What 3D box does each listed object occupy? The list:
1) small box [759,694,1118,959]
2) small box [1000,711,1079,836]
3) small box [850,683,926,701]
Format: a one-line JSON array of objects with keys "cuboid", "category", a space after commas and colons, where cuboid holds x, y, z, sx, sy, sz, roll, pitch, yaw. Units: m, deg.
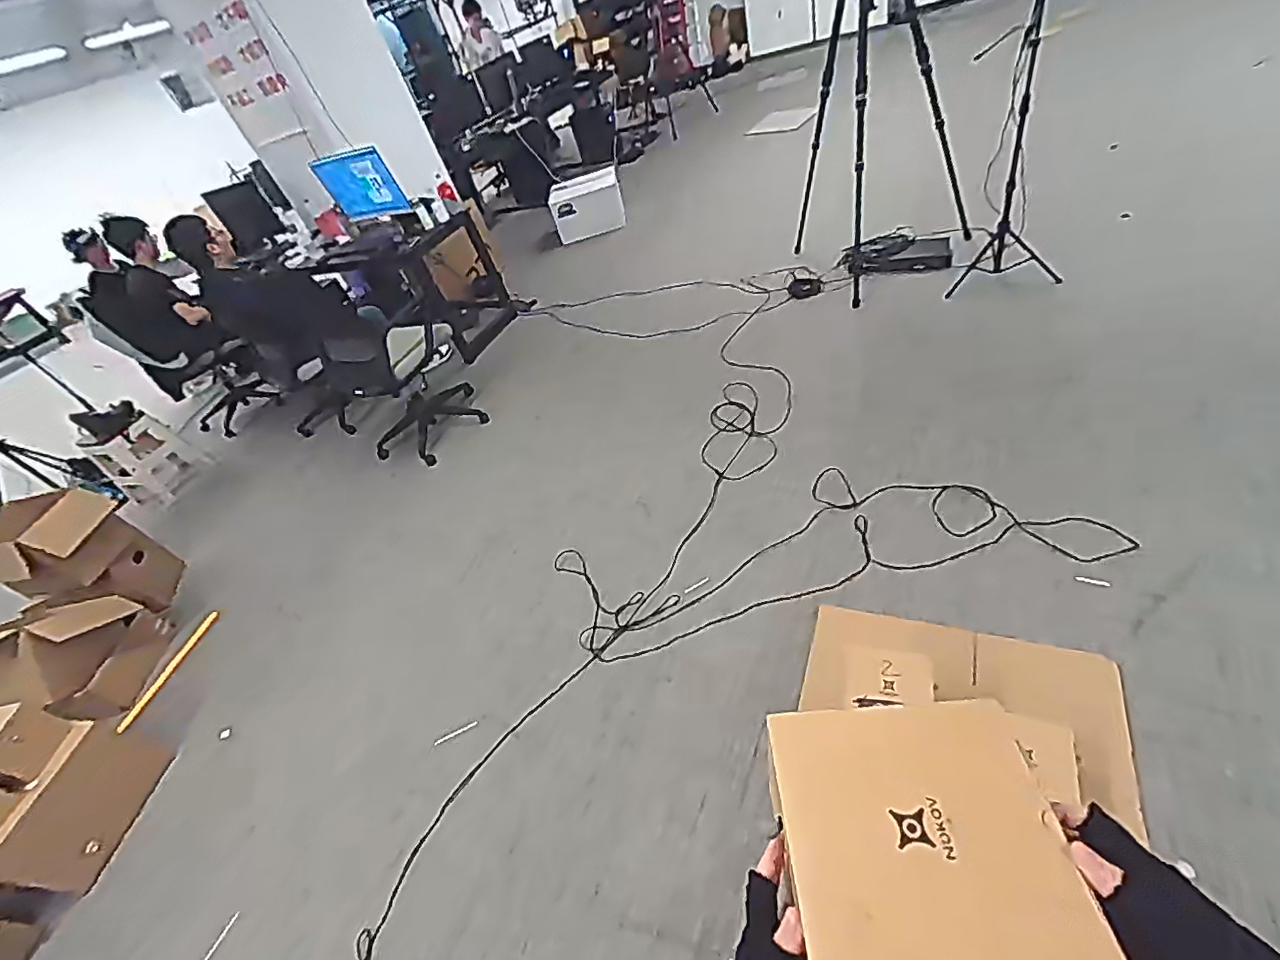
[{"cuboid": [0.192, 0.284, 0.412, 0.179, 0.176, 0.168, -6, 43, 7], "category": "small box"}, {"cuboid": [0.799, 0.615, 1.143, 0.168, 0.176, 0.179, 4, 49, 29], "category": "small box"}, {"cuboid": [0.573, 0.600, 1.250, 0.168, 0.176, 0.179, 2, 47, 25], "category": "small box"}]
